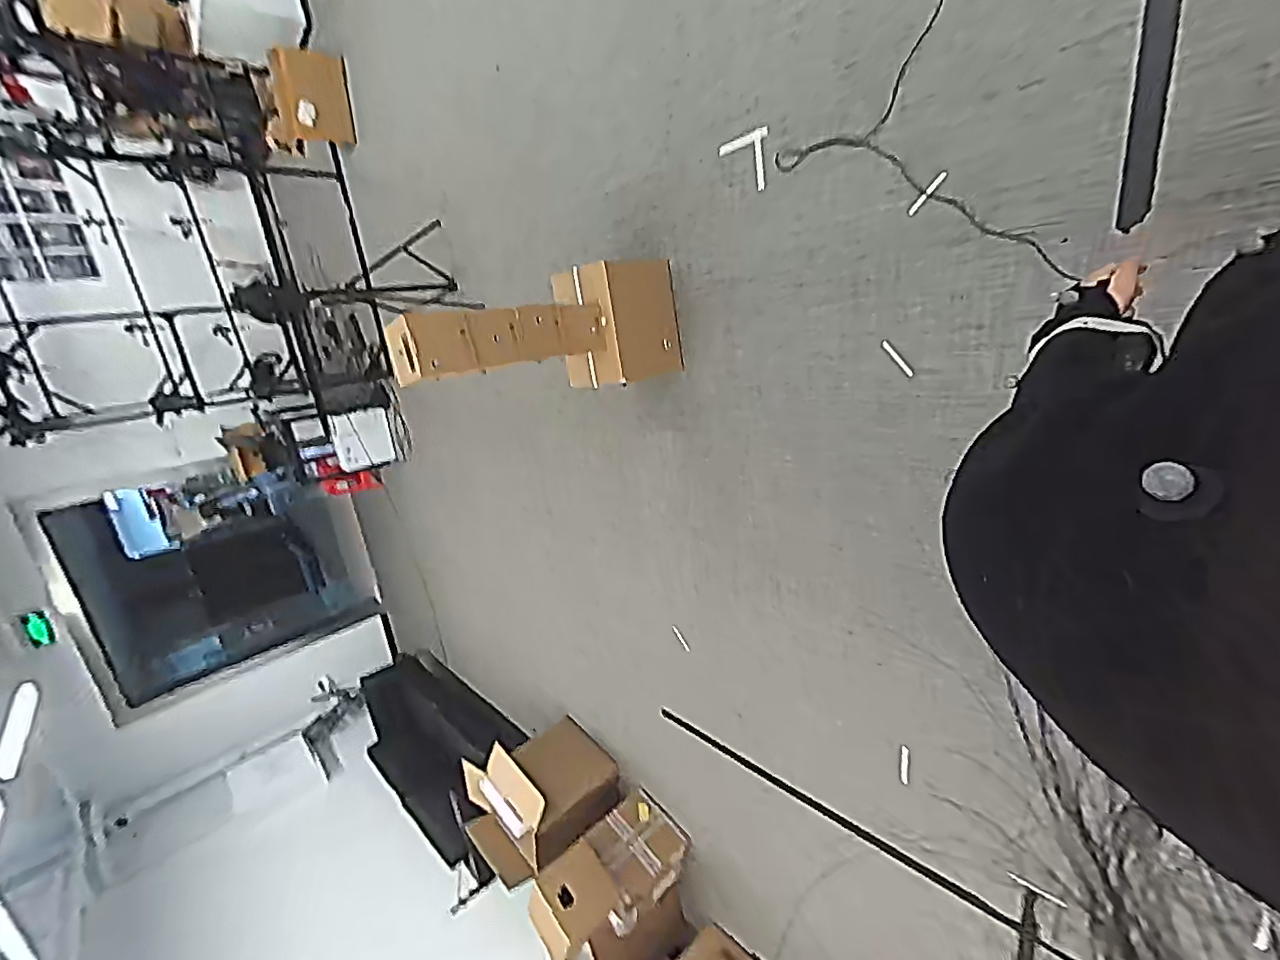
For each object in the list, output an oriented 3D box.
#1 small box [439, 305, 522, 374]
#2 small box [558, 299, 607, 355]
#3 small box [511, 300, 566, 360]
[{"bbox_3d":[-0.471,-0.424,1.624,0.179,0.176,0.168,-1,105,48],"label":"small box"},{"bbox_3d":[-0.238,-0.516,1.835,0.179,0.176,0.168,7,112,46],"label":"small box"},{"bbox_3d":[-0.351,-0.474,1.726,0.179,0.176,0.168,6,110,48],"label":"small box"}]
